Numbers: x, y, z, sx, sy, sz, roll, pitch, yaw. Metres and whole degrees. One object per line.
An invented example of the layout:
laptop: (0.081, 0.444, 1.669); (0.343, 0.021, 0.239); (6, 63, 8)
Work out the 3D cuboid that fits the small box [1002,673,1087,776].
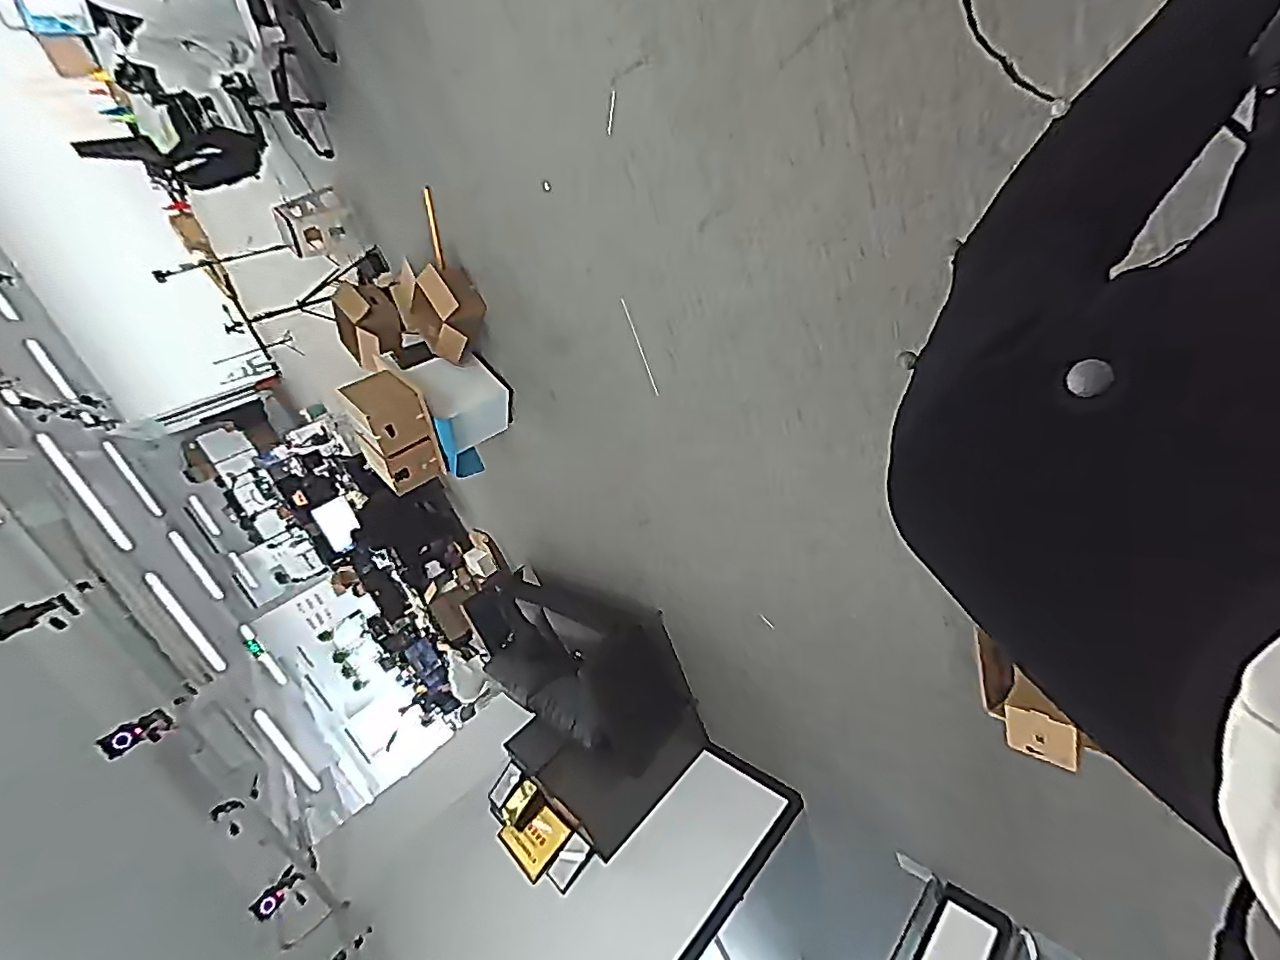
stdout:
small box: (1.165, 0.694, 1.559); (0.168, 0.176, 0.179); (9, 123, 49)
